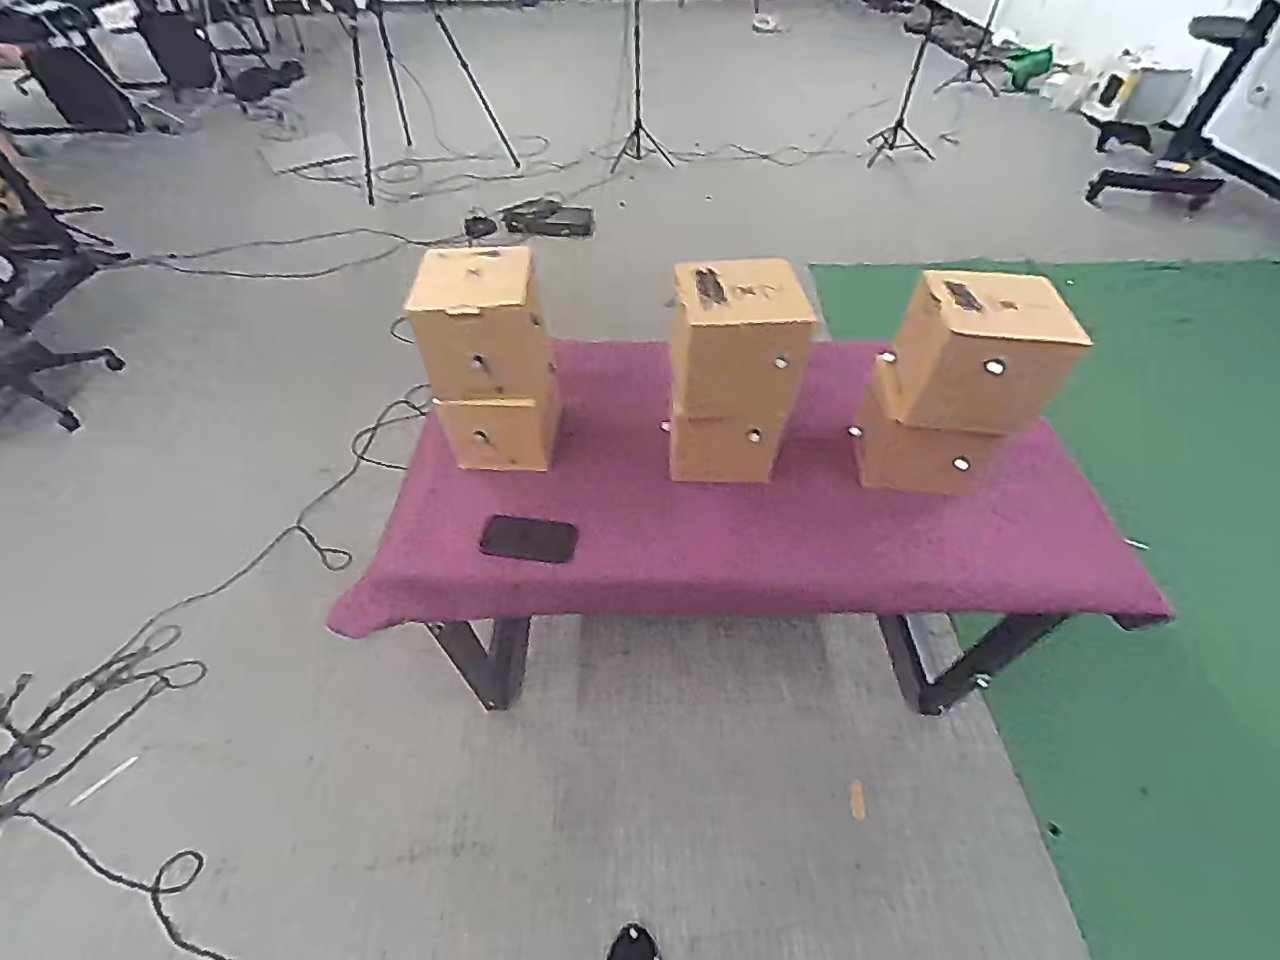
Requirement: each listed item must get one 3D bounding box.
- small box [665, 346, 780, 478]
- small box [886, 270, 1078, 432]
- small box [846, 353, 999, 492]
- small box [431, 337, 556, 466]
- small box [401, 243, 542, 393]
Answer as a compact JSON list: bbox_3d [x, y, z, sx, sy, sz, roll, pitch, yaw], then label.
[{"bbox_3d":[0.137,-0.116,0.958,0.179,0.176,0.168,1,50,2],"label":"small box"},{"bbox_3d":[0.483,-0.189,0.804,0.179,0.176,0.168,6,50,5],"label":"small box"},{"bbox_3d":[0.476,-0.096,0.940,0.179,0.176,0.168,6,50,6],"label":"small box"},{"bbox_3d":[-0.253,-0.141,0.983,0.168,0.176,0.179,2,50,2],"label":"small box"},{"bbox_3d":[-0.253,-0.253,0.862,0.168,0.176,0.179,-2,51,-2],"label":"small box"}]
